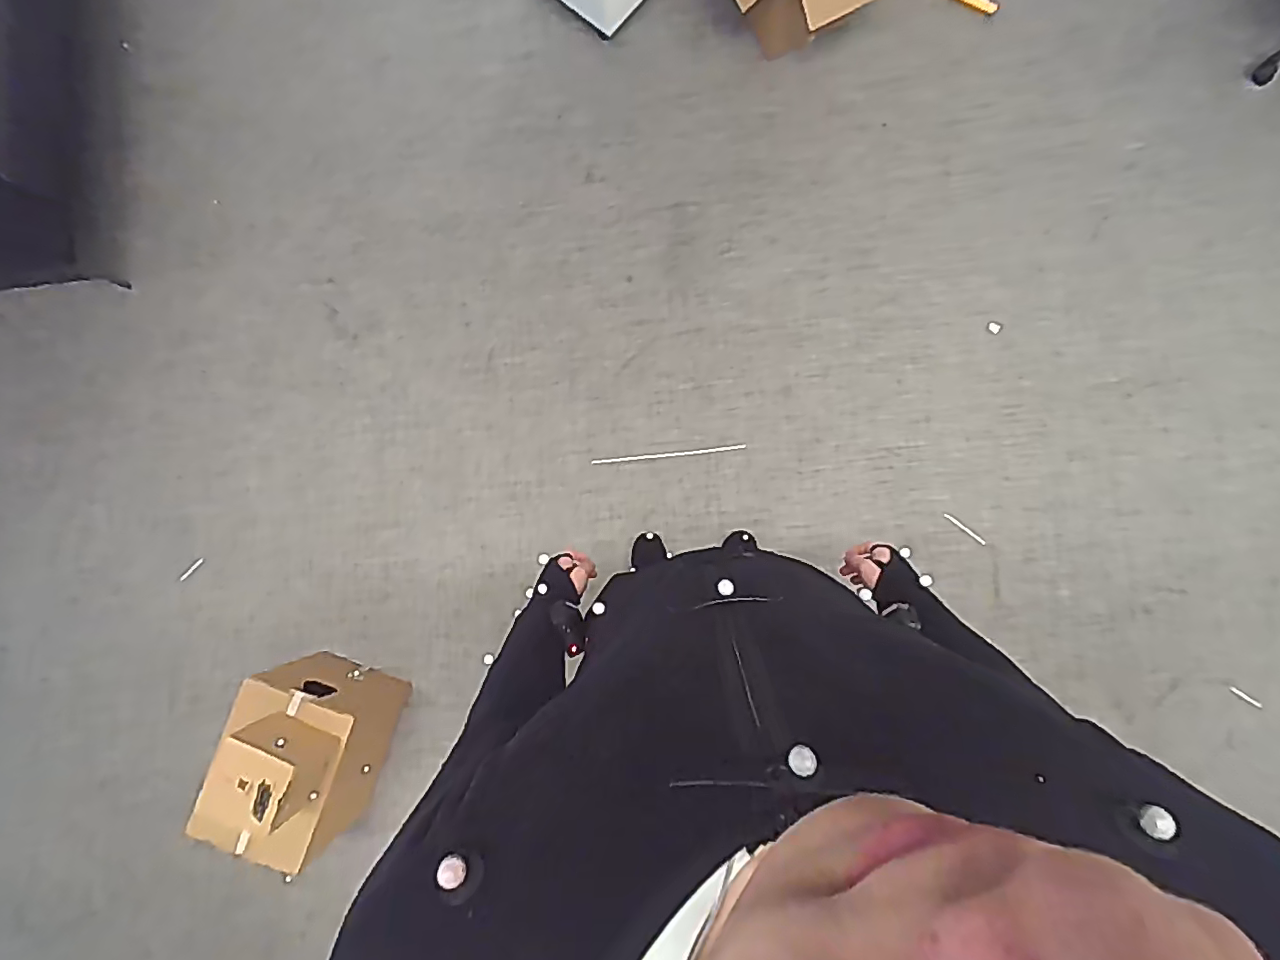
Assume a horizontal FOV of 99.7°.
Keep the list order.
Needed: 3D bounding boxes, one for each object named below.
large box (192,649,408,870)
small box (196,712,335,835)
[{"bbox_3d":[-0.907,0.737,1.495,0.320,0.320,0.408,18,86,5],"label":"large box"},{"bbox_3d":[-0.853,0.666,1.252,0.179,0.176,0.168,22,86,3],"label":"small box"}]
